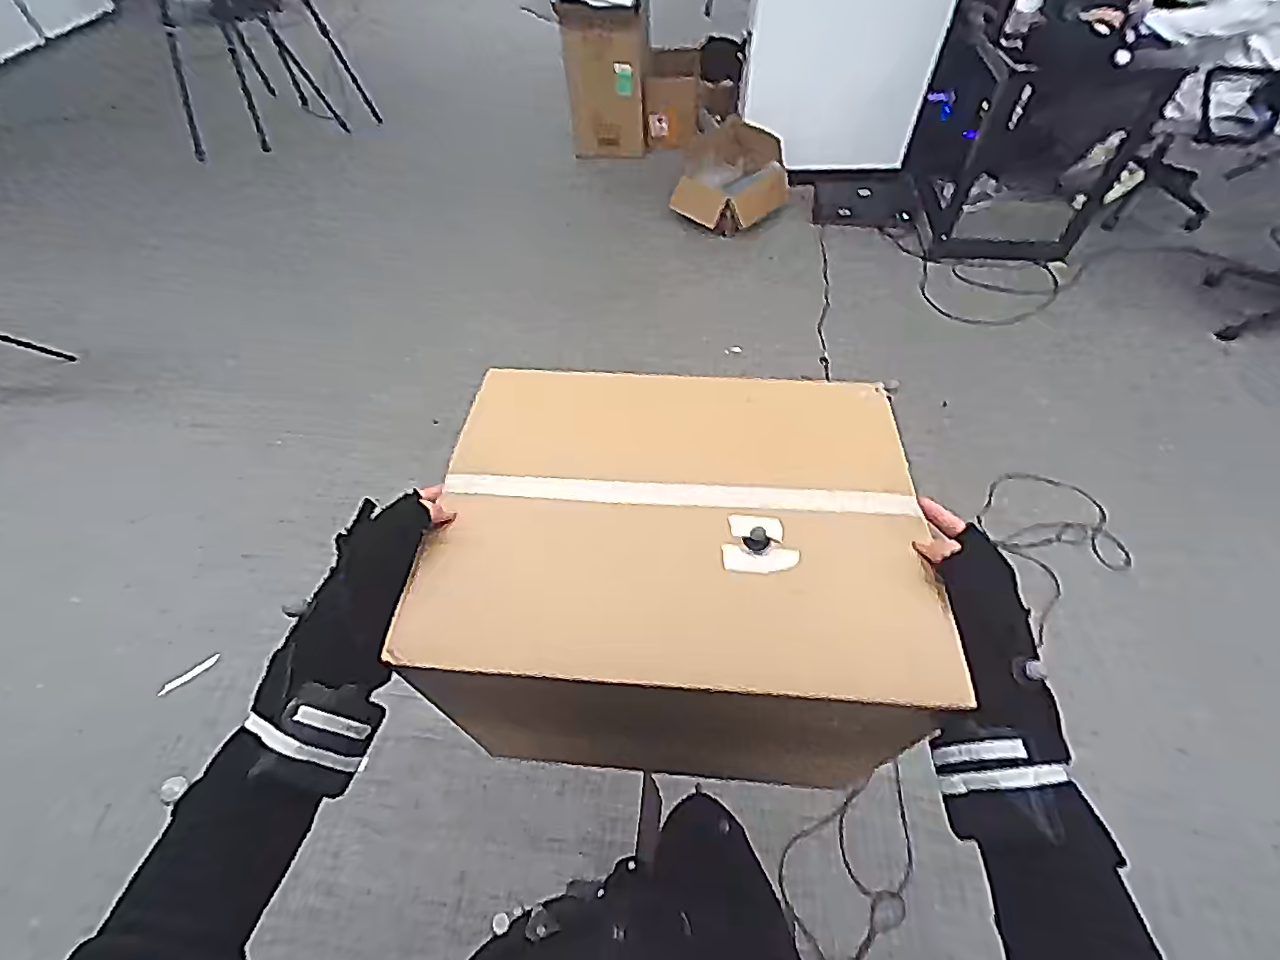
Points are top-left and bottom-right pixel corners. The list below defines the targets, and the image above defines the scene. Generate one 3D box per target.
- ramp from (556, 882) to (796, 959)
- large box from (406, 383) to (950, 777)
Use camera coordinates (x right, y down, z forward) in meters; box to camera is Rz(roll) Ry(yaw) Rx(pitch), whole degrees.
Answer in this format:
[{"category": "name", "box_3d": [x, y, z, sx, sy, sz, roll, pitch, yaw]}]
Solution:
[{"category": "ramp", "box_3d": [0.029, 1.258, 0.833, 0.509, 0.206, 0.991, 1, 55, 6]}, {"category": "large box", "box_3d": [0.034, 0.115, 0.596, 0.408, 0.320, 0.320, 3, 52, 4]}]
